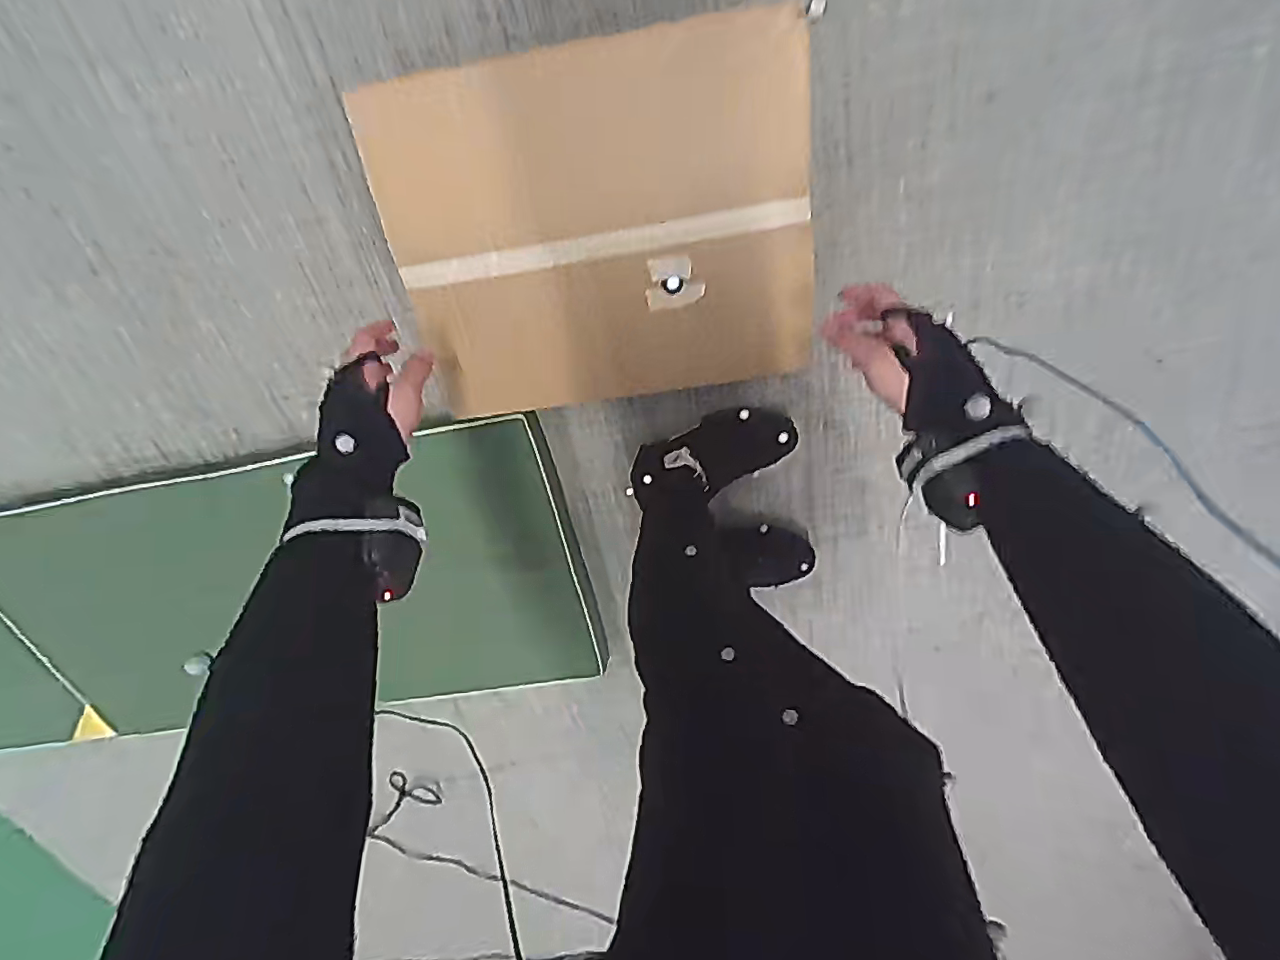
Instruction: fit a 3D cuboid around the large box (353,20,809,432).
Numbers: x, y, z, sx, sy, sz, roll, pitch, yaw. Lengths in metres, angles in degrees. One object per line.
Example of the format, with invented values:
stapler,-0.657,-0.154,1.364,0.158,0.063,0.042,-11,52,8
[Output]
large box,-0.039,-0.283,0.663,0.408,0.320,0.320,-8,117,5
